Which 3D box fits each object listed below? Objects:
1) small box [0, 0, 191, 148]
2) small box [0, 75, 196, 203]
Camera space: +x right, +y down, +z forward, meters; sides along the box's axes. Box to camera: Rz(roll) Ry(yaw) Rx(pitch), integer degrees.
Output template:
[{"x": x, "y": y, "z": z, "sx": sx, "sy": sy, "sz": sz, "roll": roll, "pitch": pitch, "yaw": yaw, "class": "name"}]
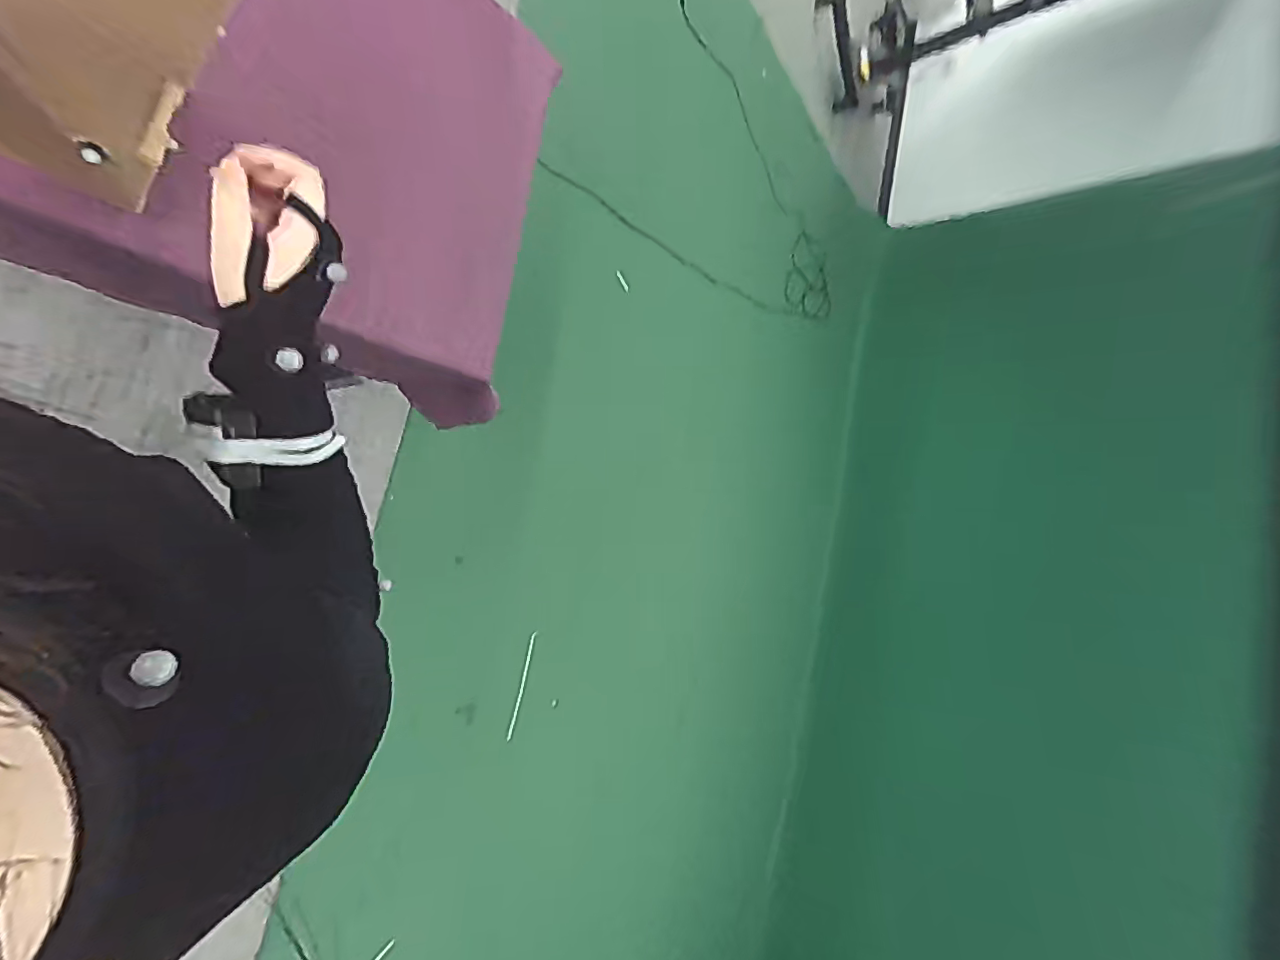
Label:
[{"x": -0.404, "y": -0.371, "z": 0.366, "sx": 0.179, "sy": 0.176, "sz": 0.168, "roll": 23, "pitch": 77, "yaw": -46, "class": "small box"}, {"x": -0.522, "y": -0.381, "z": 0.480, "sx": 0.179, "sy": 0.176, "sz": 0.168, "roll": 18, "pitch": 80, "yaw": -48, "class": "small box"}]
